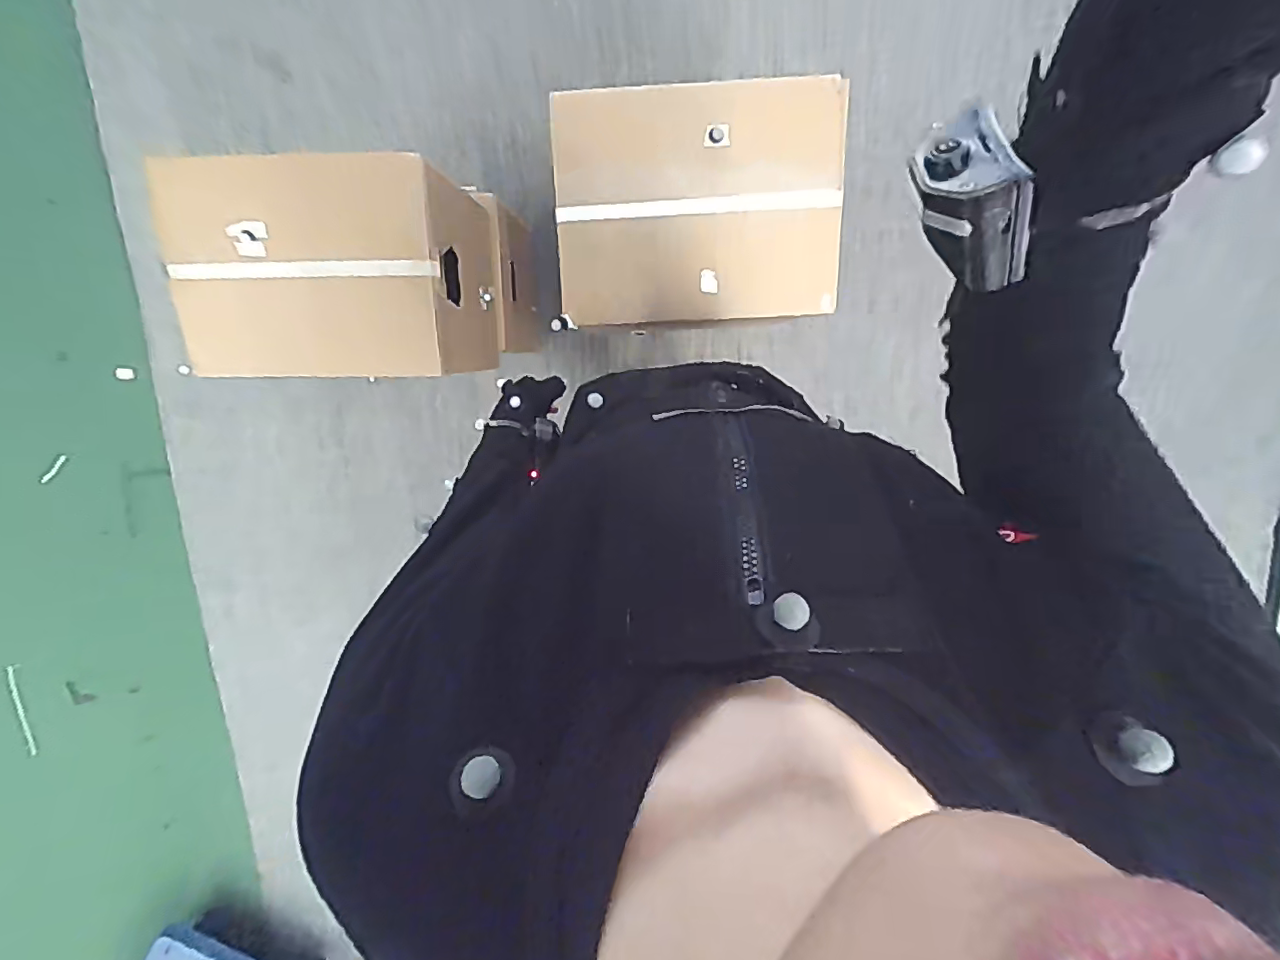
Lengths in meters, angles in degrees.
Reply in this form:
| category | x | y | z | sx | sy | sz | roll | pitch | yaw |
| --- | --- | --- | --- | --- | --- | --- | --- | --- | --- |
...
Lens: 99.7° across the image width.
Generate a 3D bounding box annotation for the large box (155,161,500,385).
| category | x | y | z | sx | sy | sz | roll | pitch | yaw |
| --- | --- | --- | --- | --- | --- | --- | --- | --- | --- |
| large box | -0.495 | -0.336 | 0.951 | 0.408 | 0.320 | 0.320 | 1 | 103 | 3 |
